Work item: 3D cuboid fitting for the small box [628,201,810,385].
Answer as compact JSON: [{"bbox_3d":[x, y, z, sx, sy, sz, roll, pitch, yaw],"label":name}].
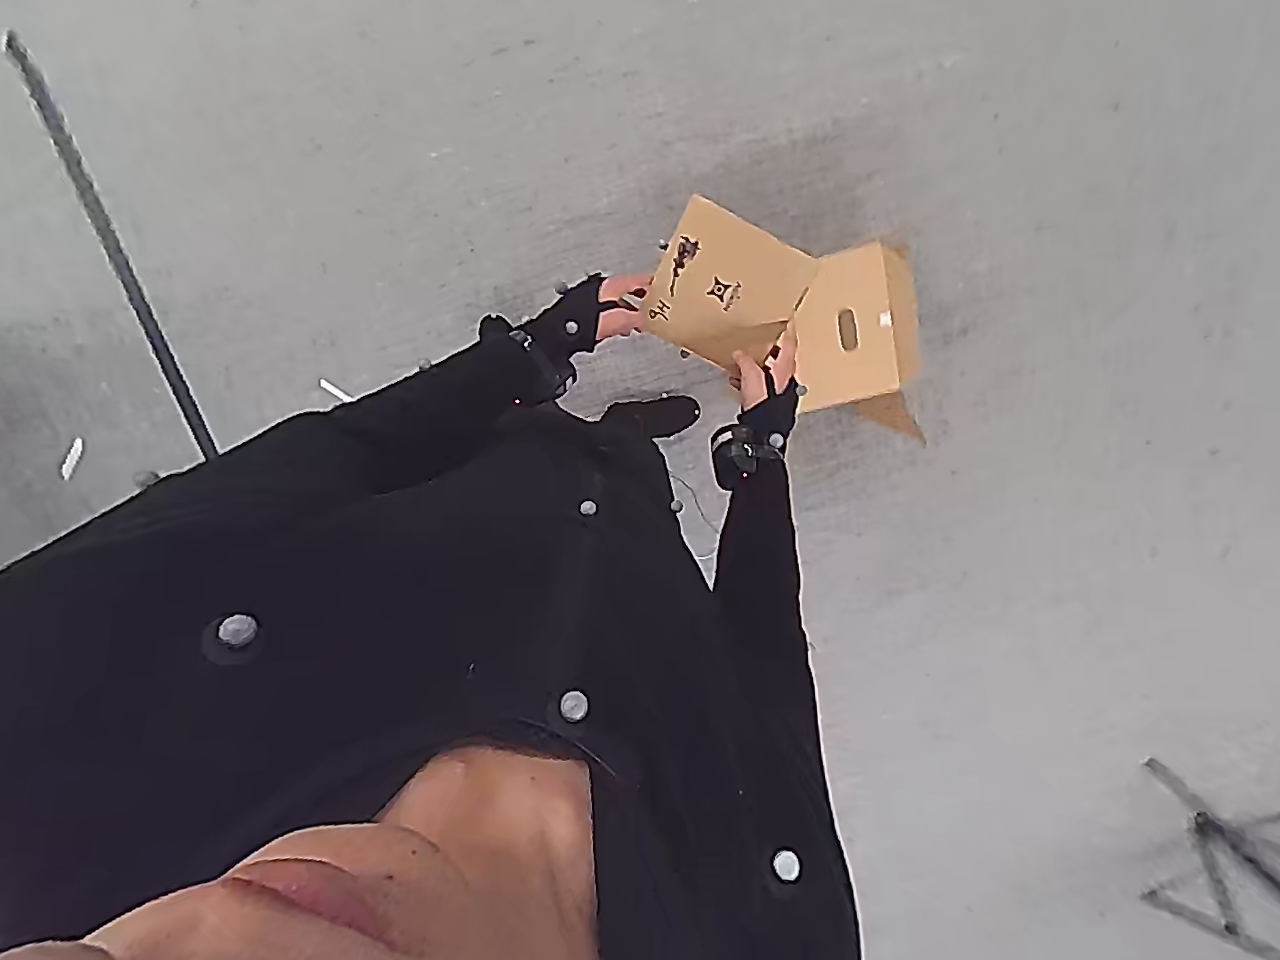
[{"bbox_3d":[0.101,-0.256,0.749,0.179,0.176,0.168,26,109,-6],"label":"small box"}]
